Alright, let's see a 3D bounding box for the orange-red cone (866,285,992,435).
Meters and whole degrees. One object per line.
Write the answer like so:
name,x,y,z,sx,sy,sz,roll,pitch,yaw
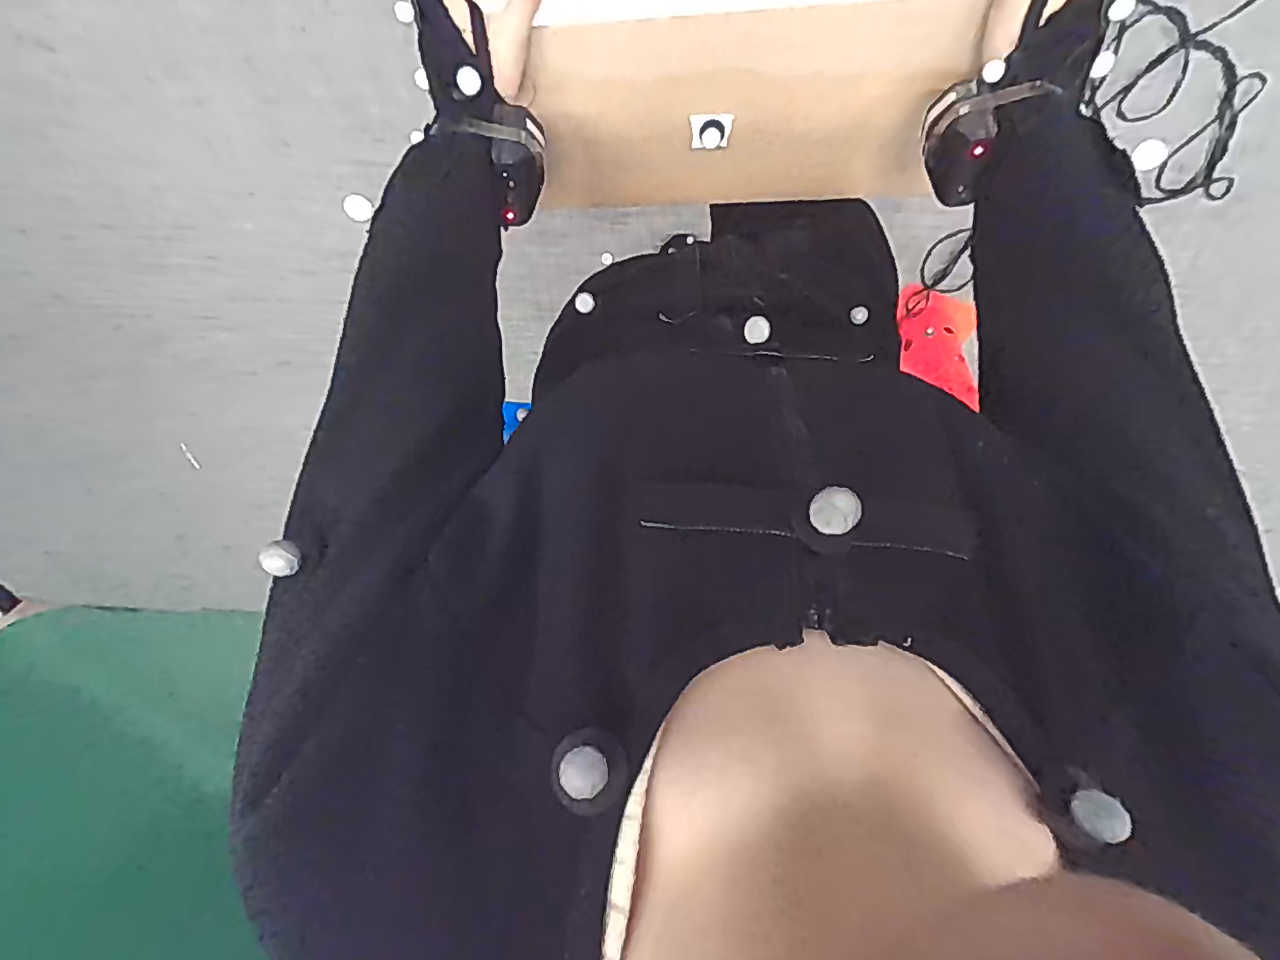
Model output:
orange-red cone,0.624,-0.210,1.088,0.199,0.360,0.198,18,131,-9
